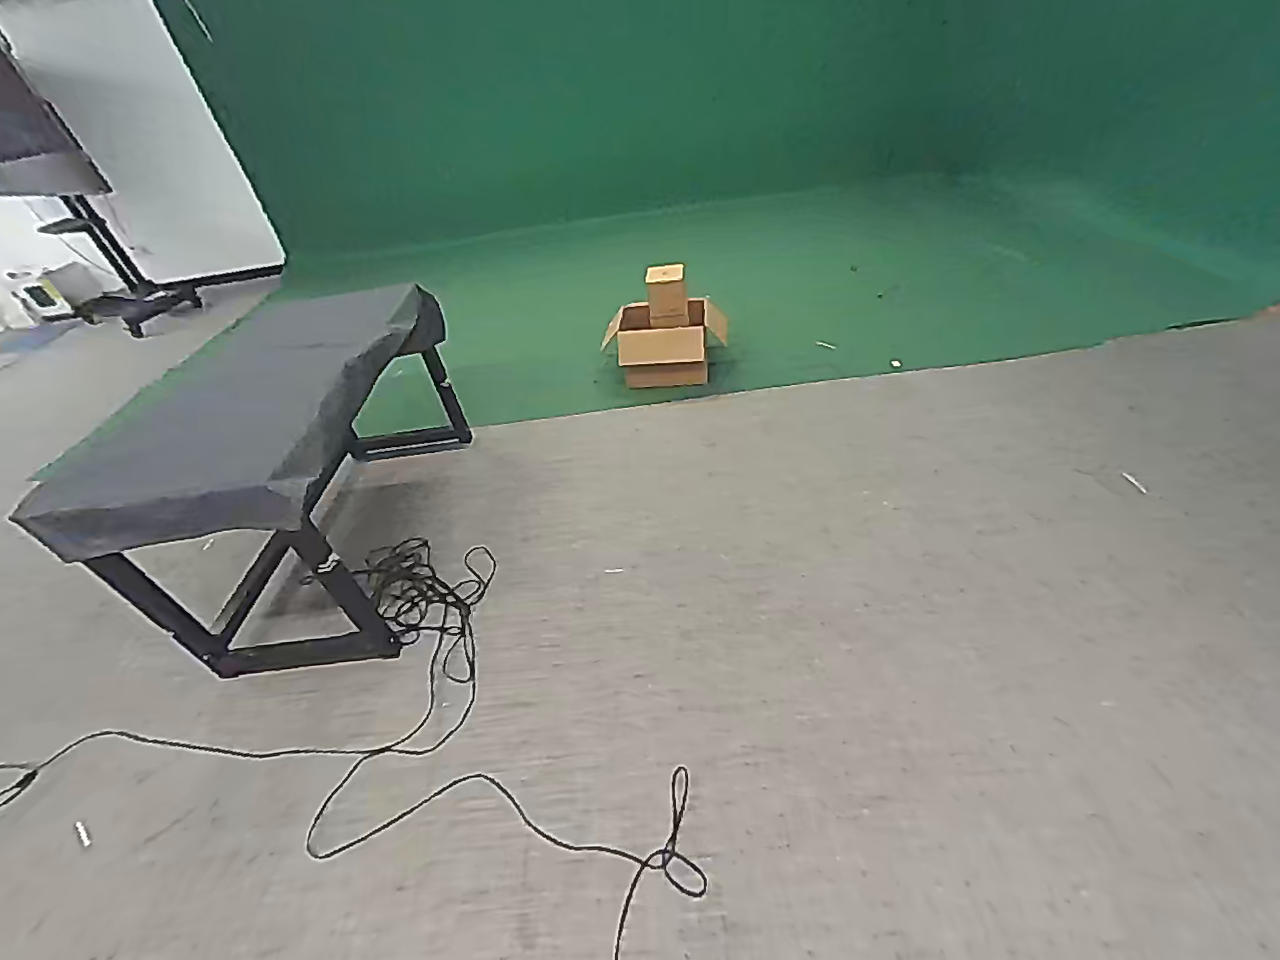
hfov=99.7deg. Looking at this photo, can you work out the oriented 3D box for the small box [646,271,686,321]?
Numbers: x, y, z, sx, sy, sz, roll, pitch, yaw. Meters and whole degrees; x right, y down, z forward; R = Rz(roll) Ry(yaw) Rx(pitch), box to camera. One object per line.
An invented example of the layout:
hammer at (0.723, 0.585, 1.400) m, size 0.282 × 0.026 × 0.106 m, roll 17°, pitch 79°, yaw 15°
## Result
small box at (0.126, -0.846, 2.496) m, size 0.168 × 0.176 × 0.179 m, roll -3°, pitch 40°, yaw 8°
